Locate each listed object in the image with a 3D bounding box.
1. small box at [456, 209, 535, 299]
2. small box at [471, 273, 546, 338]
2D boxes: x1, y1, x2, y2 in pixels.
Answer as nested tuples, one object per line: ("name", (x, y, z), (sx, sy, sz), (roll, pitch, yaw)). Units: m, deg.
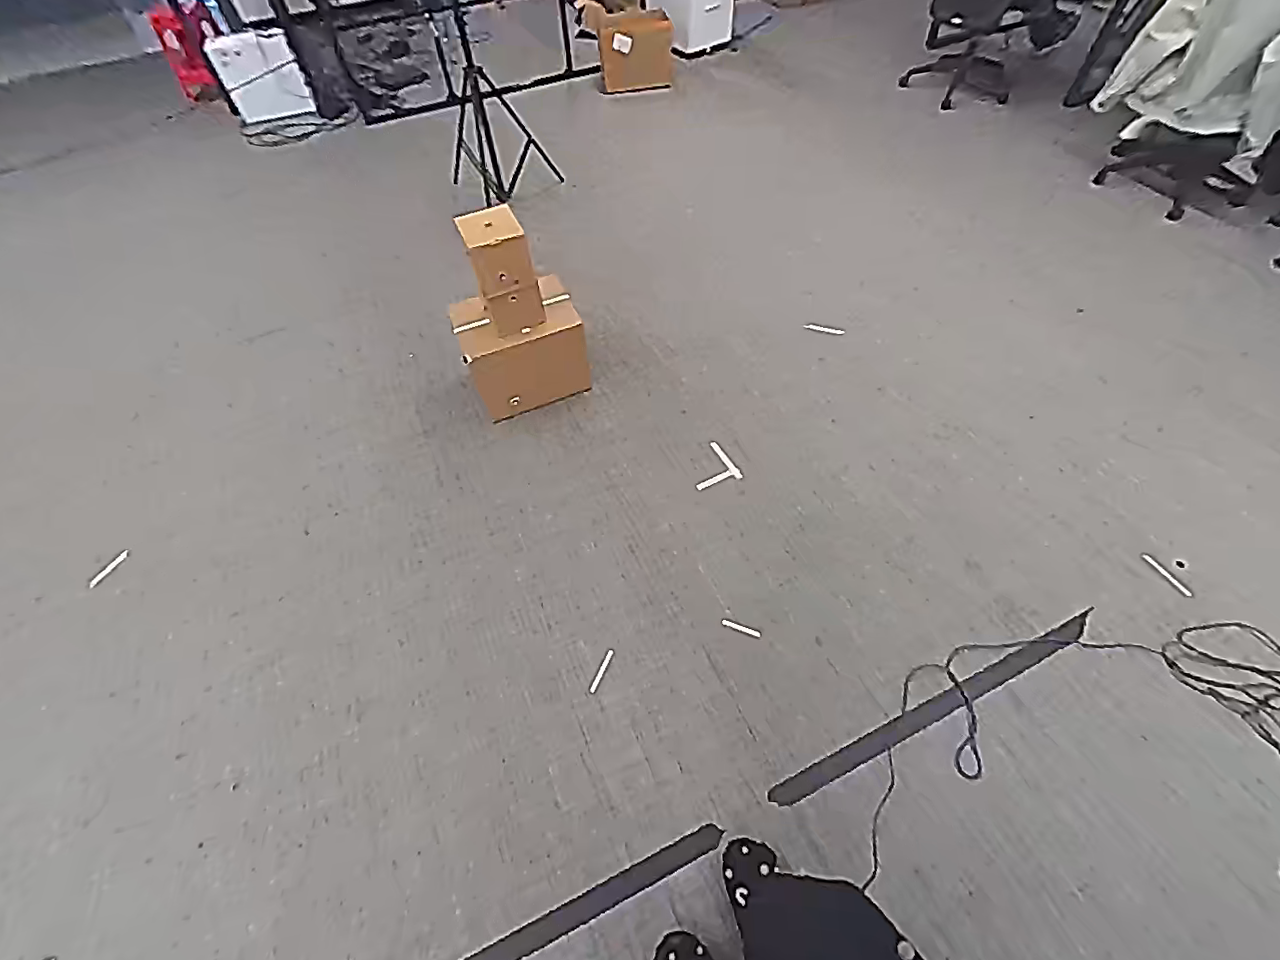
("small box", (-0.431, -0.678, 1.628), (0.168, 0.176, 0.179), (-23, 59, -12))
("small box", (-0.424, -0.594, 1.768), (0.179, 0.176, 0.168), (-23, 59, -14))
